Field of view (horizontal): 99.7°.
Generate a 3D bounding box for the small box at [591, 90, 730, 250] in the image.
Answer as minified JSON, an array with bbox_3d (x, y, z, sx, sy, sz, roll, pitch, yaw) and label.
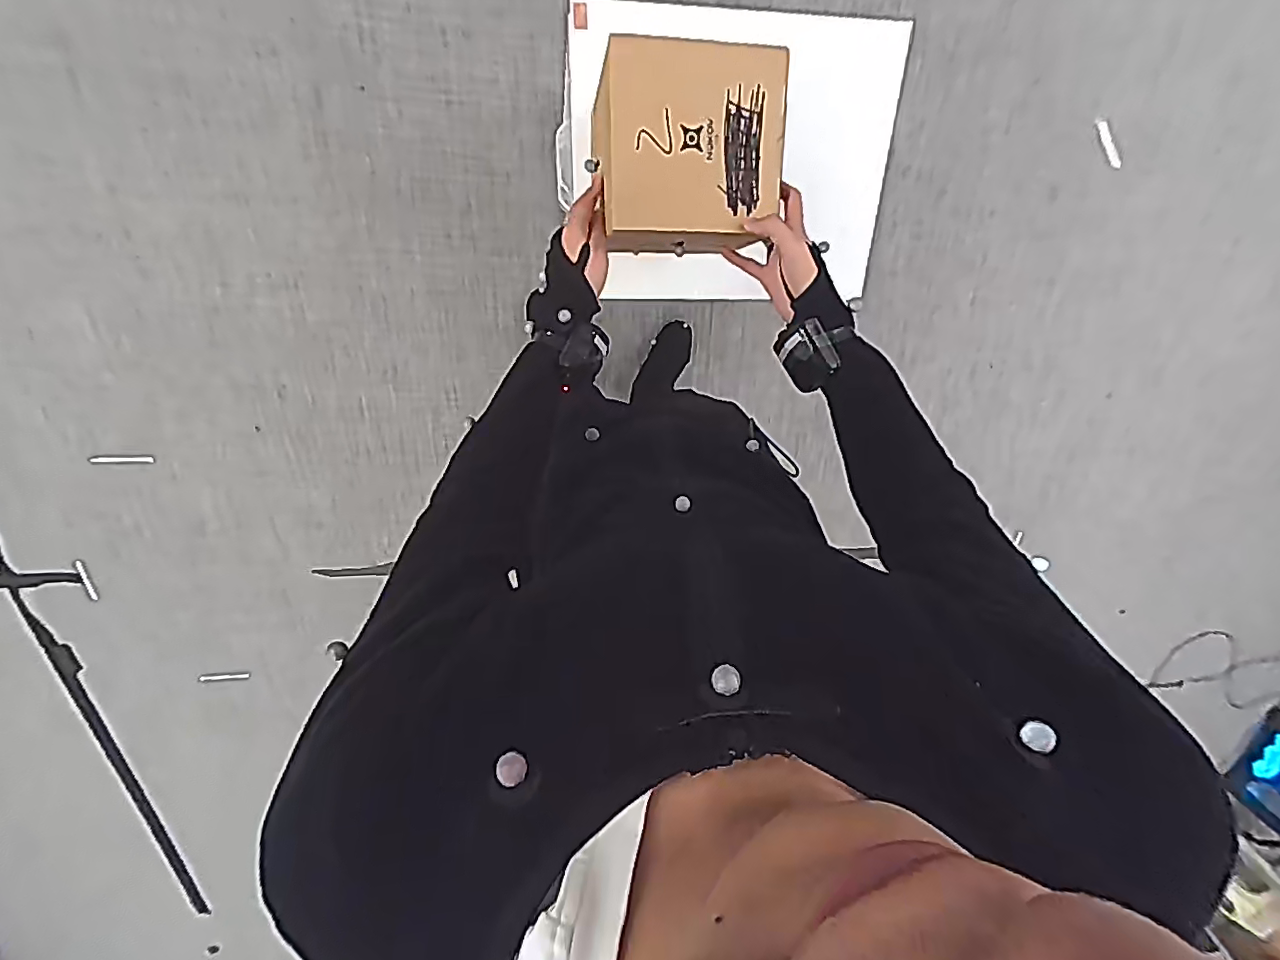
[{"bbox_3d":[0.018,-0.429,0.770,0.168,0.176,0.179,-2,116,-8],"label":"small box"}]
